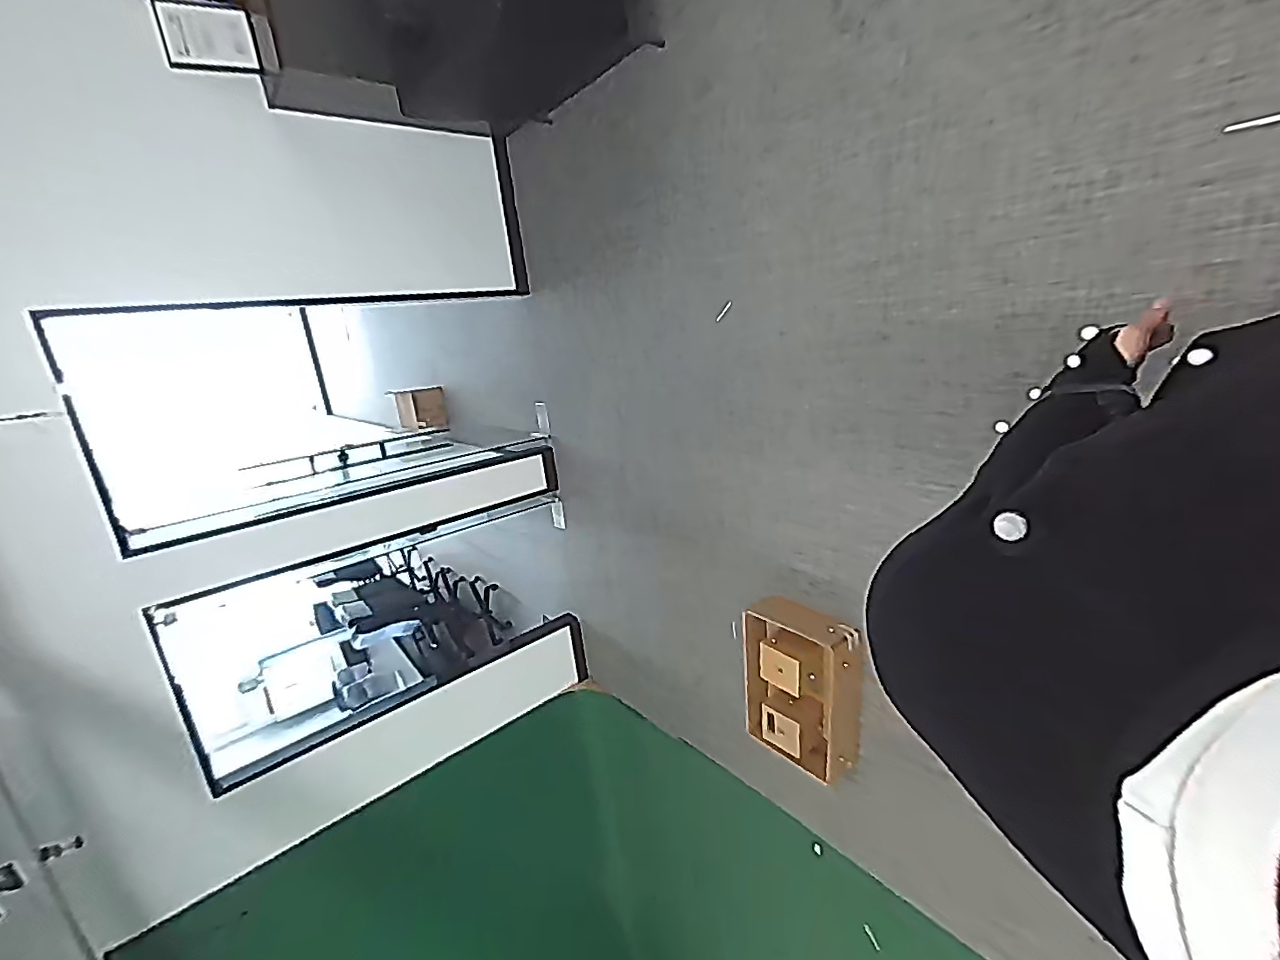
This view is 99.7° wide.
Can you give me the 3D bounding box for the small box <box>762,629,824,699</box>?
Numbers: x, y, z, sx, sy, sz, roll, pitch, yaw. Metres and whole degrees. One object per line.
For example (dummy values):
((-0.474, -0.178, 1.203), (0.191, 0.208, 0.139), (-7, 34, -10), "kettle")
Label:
((0.594, 0.705, 2.094), (0.179, 0.176, 0.168), (16, 116, 49), "small box")
